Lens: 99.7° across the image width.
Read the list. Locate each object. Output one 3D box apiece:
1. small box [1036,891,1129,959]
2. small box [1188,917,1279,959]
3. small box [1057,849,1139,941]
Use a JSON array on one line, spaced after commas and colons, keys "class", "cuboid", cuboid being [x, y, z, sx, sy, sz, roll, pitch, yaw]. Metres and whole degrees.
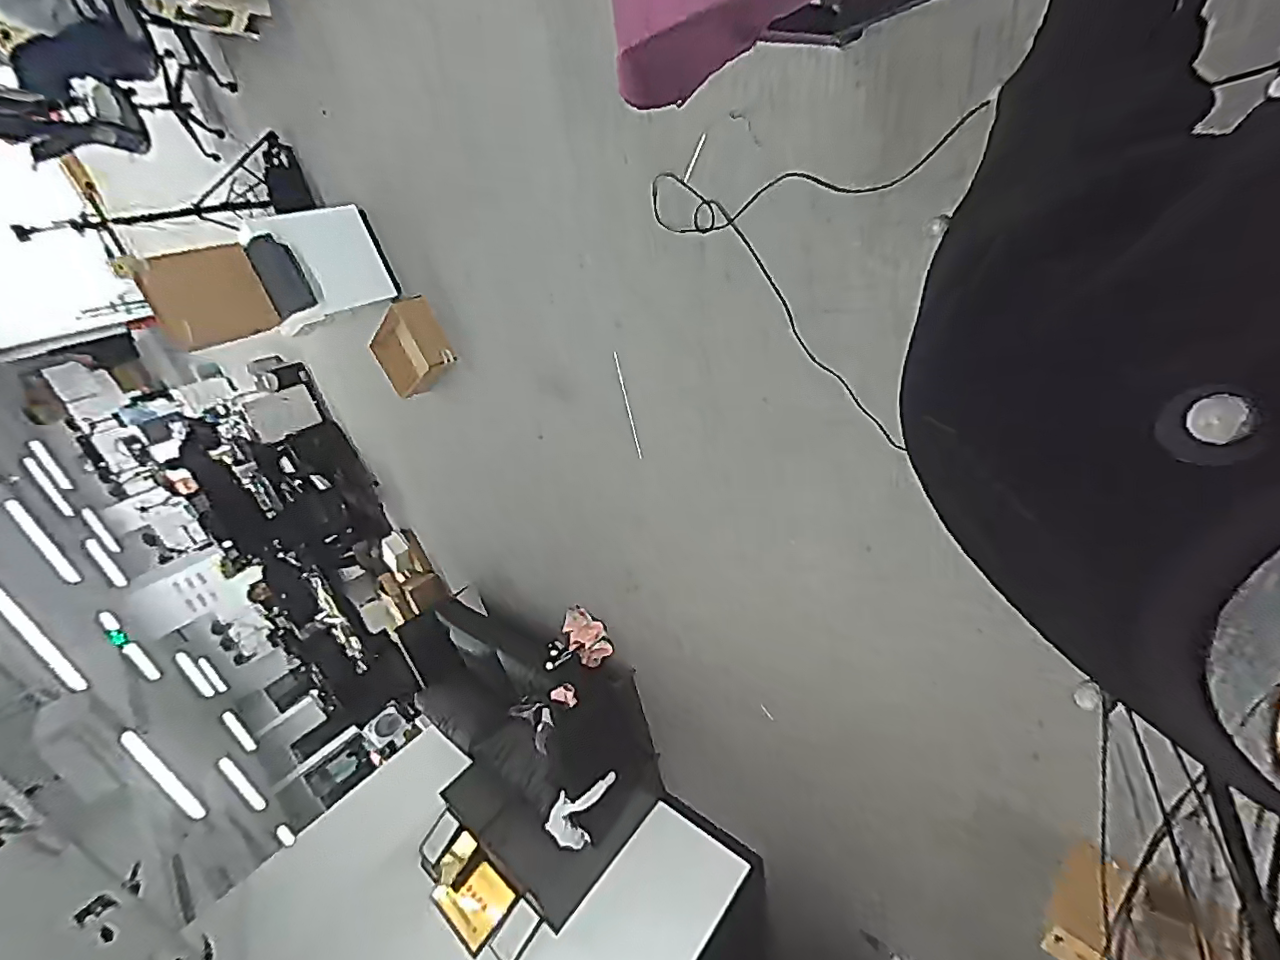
[{"class": "small box", "cuboid": [1.328, 1.398, 1.622, 0.179, 0.176, 0.168, 20, 129, 36]}, {"class": "small box", "cuboid": [1.671, 1.382, 1.512, 0.179, 0.176, 0.168, 10, 123, 42]}, {"class": "small box", "cuboid": [1.448, 1.332, 1.716, 0.168, 0.176, 0.179, 21, 129, 36]}]
